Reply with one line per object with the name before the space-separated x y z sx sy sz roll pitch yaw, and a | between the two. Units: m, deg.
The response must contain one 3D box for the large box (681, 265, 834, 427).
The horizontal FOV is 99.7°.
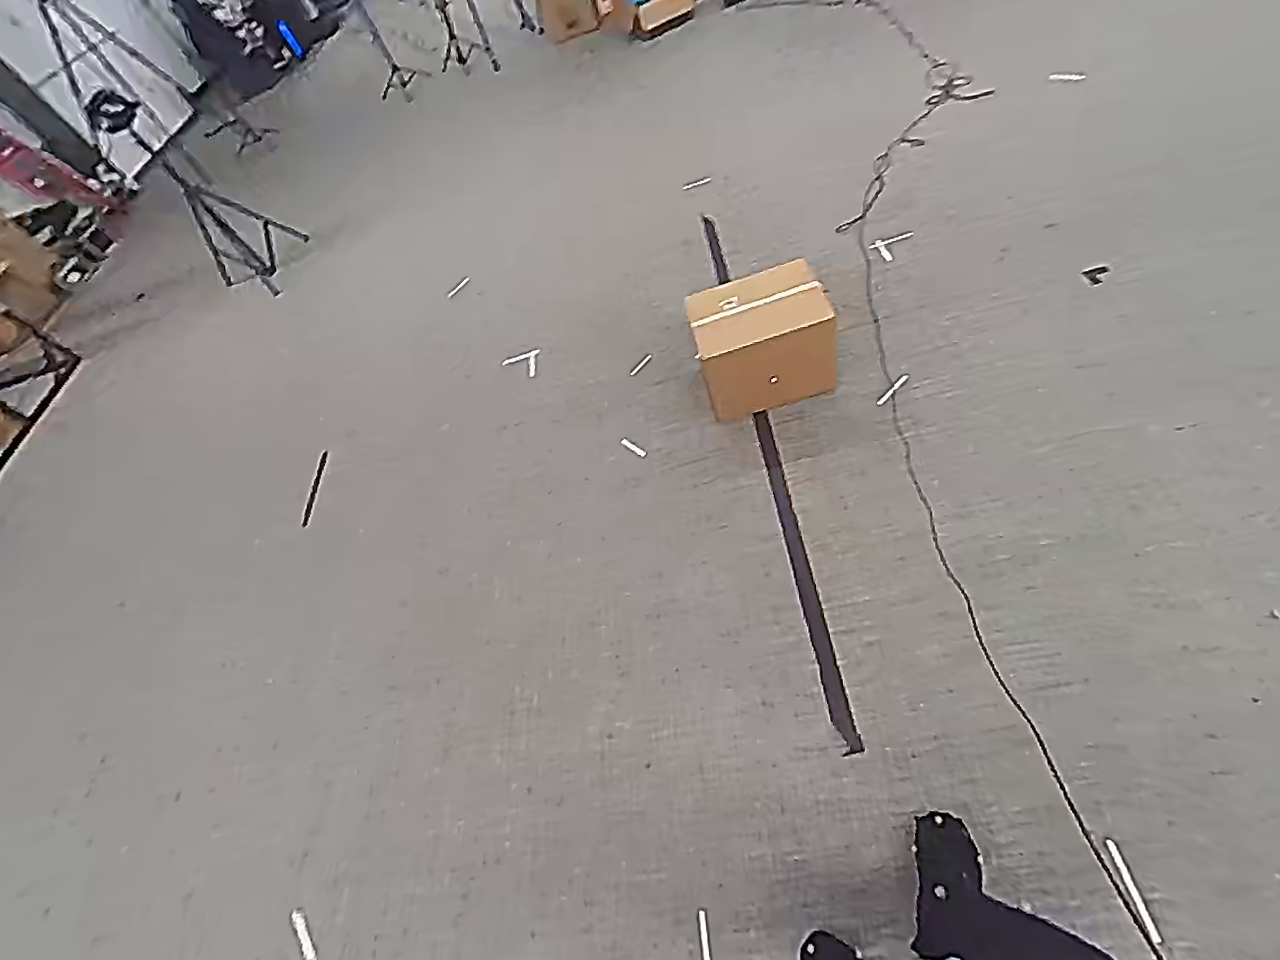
large box | 0.388 -0.431 1.785 0.408 0.320 0.320 -17 52 10
